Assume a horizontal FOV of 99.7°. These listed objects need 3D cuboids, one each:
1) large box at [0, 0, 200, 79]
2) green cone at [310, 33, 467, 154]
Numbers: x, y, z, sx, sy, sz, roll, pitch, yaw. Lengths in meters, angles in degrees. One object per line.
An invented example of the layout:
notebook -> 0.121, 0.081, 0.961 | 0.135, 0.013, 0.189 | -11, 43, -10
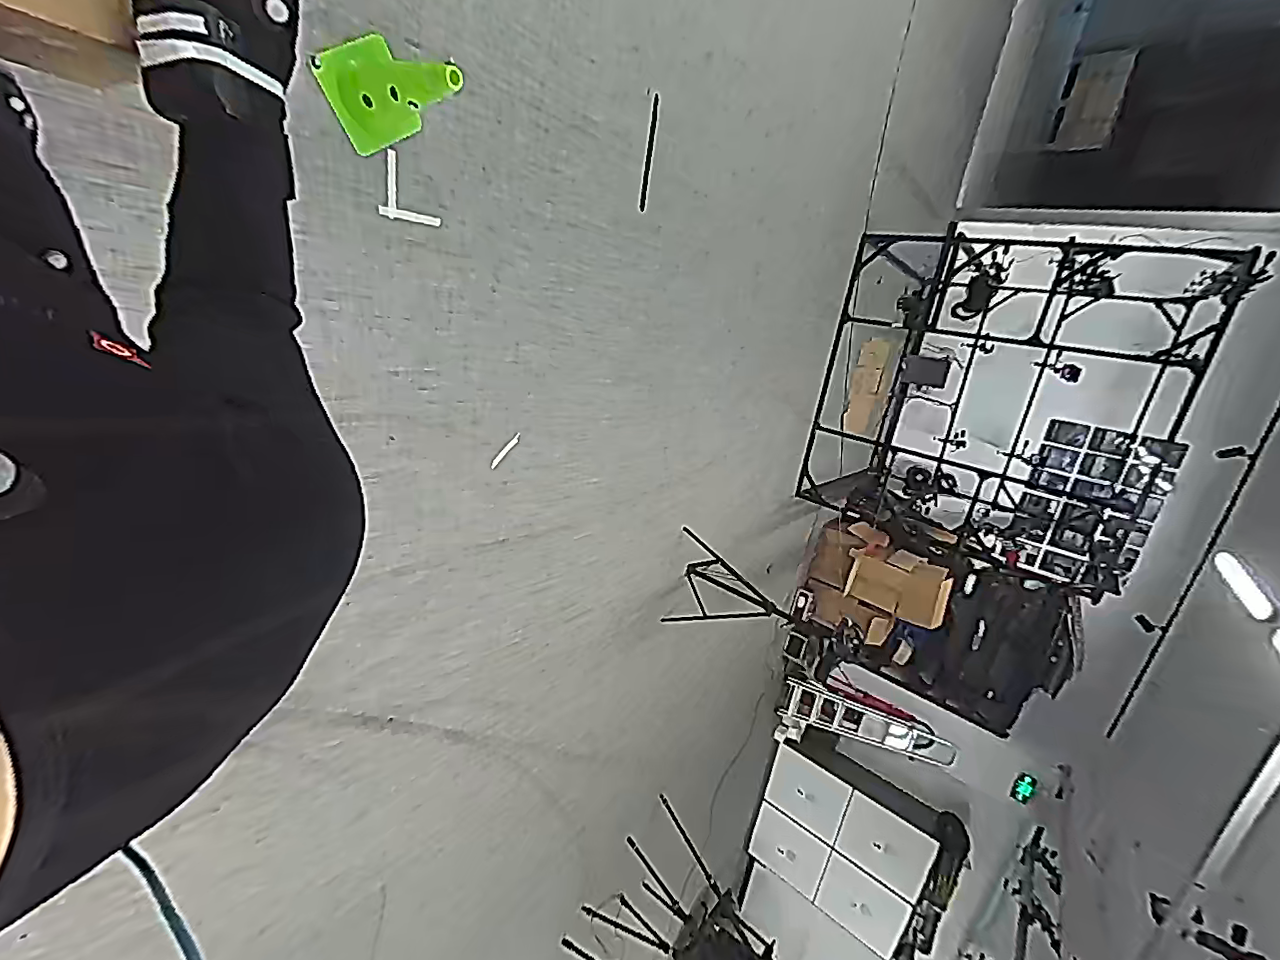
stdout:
large box -> -0.522, -0.463, 0.264 | 0.408, 0.320, 0.320 | -12, 121, -52
green cone -> -0.508, -0.859, 1.184 | 0.202, 0.368, 0.200 | -50, 143, -27
